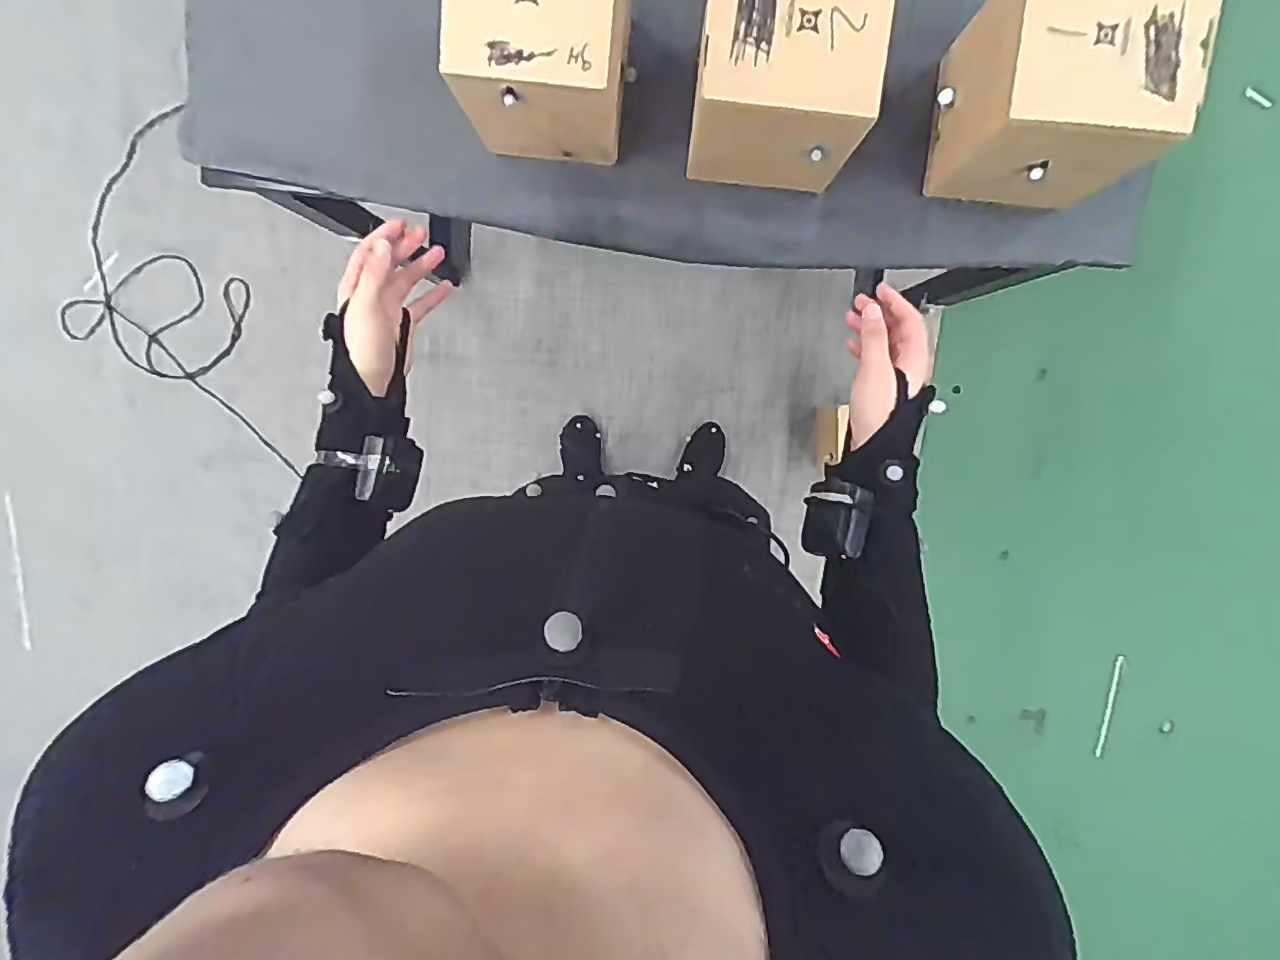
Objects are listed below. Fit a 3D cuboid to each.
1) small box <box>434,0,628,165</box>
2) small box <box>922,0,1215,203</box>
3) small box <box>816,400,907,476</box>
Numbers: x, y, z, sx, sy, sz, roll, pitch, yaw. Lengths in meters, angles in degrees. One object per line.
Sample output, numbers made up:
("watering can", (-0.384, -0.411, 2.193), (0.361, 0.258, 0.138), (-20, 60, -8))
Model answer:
("small box", (-0.105, -0.481, 0.588), (0.168, 0.176, 0.179), (7, 97, 1))
("small box", (0.441, -0.419, 0.582), (0.179, 0.176, 0.168), (6, 95, 2))
("small box", (0.554, -0.112, 1.371), (0.168, 0.176, 0.179), (-3, 99, 1))
